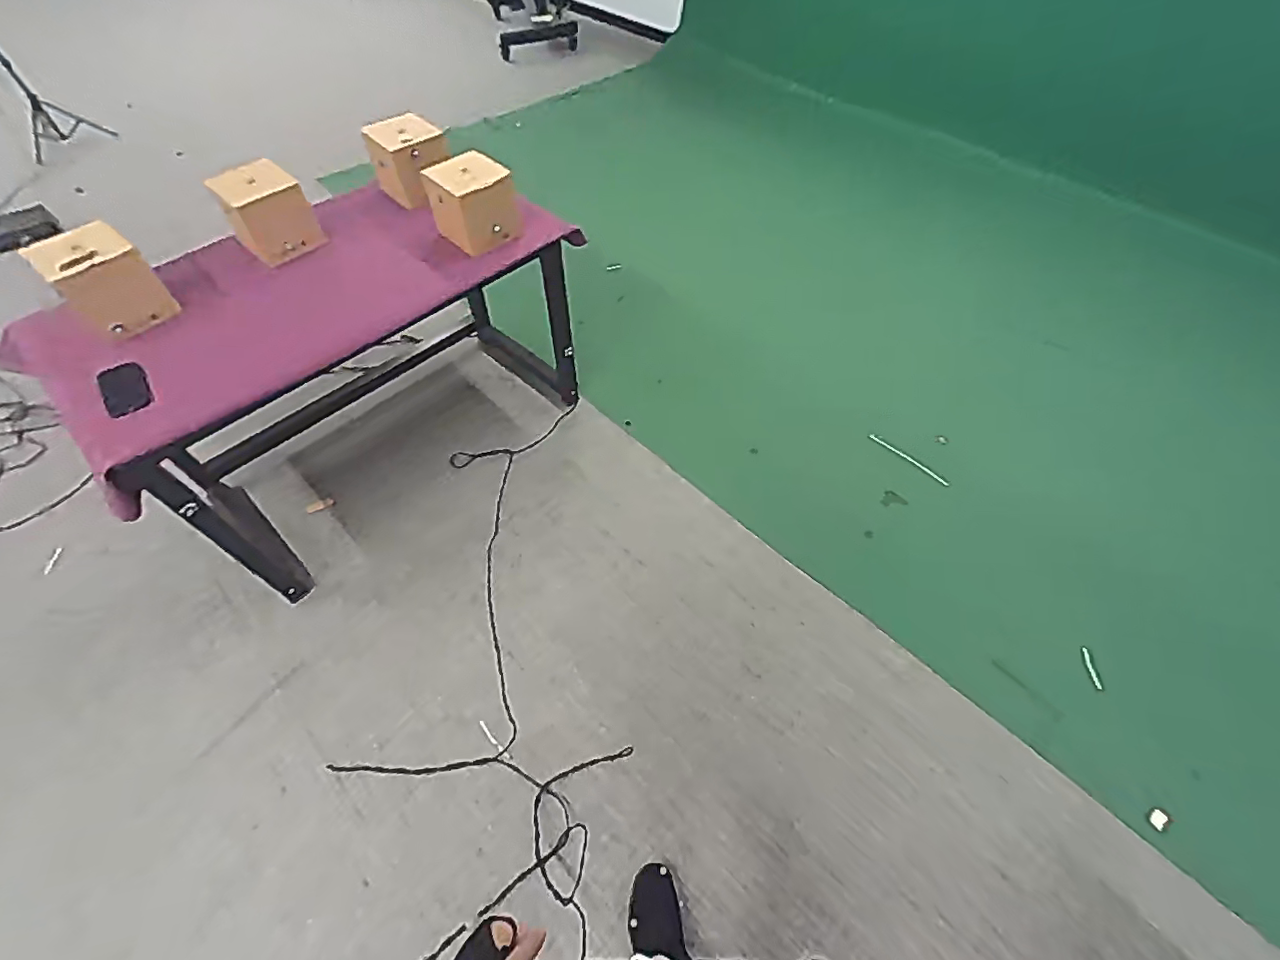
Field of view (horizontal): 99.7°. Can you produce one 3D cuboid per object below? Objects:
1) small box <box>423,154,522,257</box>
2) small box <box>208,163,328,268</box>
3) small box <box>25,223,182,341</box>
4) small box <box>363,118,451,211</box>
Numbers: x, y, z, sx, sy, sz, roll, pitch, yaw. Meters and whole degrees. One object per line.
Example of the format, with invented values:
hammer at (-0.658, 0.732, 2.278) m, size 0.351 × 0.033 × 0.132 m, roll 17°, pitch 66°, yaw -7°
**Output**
small box at (-0.440, -0.729, 1.442) m, size 0.168 × 0.176 × 0.179 m, roll -38°, pitch 64°, yaw -23°
small box at (-0.962, -0.687, 1.410) m, size 0.179 × 0.176 × 0.168 m, roll 38°, pitch 64°, yaw 22°
small box at (-1.209, -0.444, 1.233) m, size 0.179 × 0.176 × 0.168 m, roll 34°, pitch 61°, yaw 22°
small box at (-0.661, -0.916, 1.573) m, size 0.168 × 0.176 × 0.179 m, roll -38°, pitch 63°, yaw -23°
